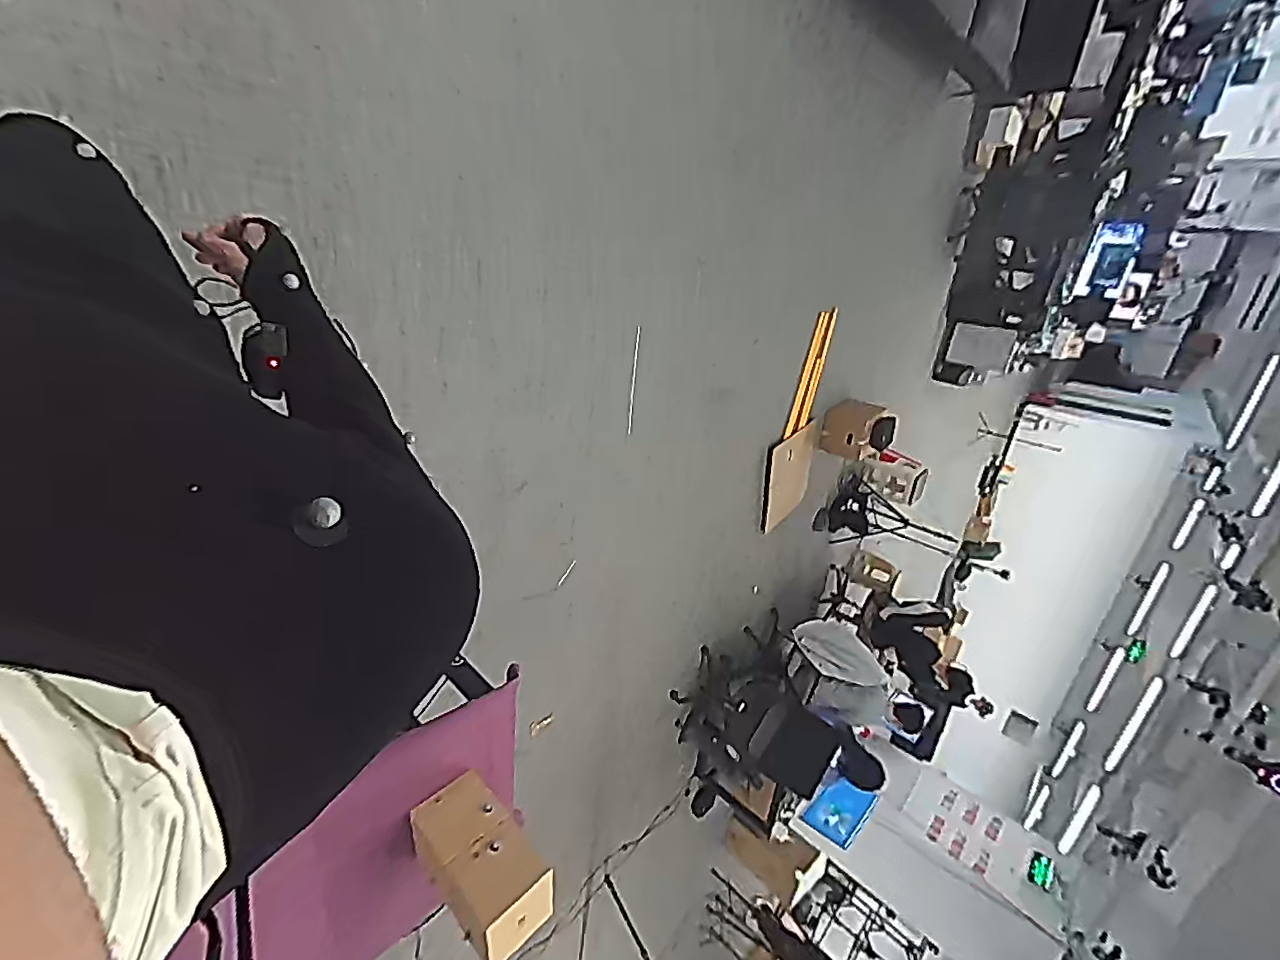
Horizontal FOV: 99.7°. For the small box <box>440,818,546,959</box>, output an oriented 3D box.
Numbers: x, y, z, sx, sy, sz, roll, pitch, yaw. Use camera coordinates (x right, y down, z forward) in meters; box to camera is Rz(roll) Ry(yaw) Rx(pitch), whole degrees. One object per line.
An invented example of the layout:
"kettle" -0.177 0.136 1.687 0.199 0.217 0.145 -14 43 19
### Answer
"small box" -0.326 0.907 1.201 0.168 0.176 0.179 -20 124 -43
